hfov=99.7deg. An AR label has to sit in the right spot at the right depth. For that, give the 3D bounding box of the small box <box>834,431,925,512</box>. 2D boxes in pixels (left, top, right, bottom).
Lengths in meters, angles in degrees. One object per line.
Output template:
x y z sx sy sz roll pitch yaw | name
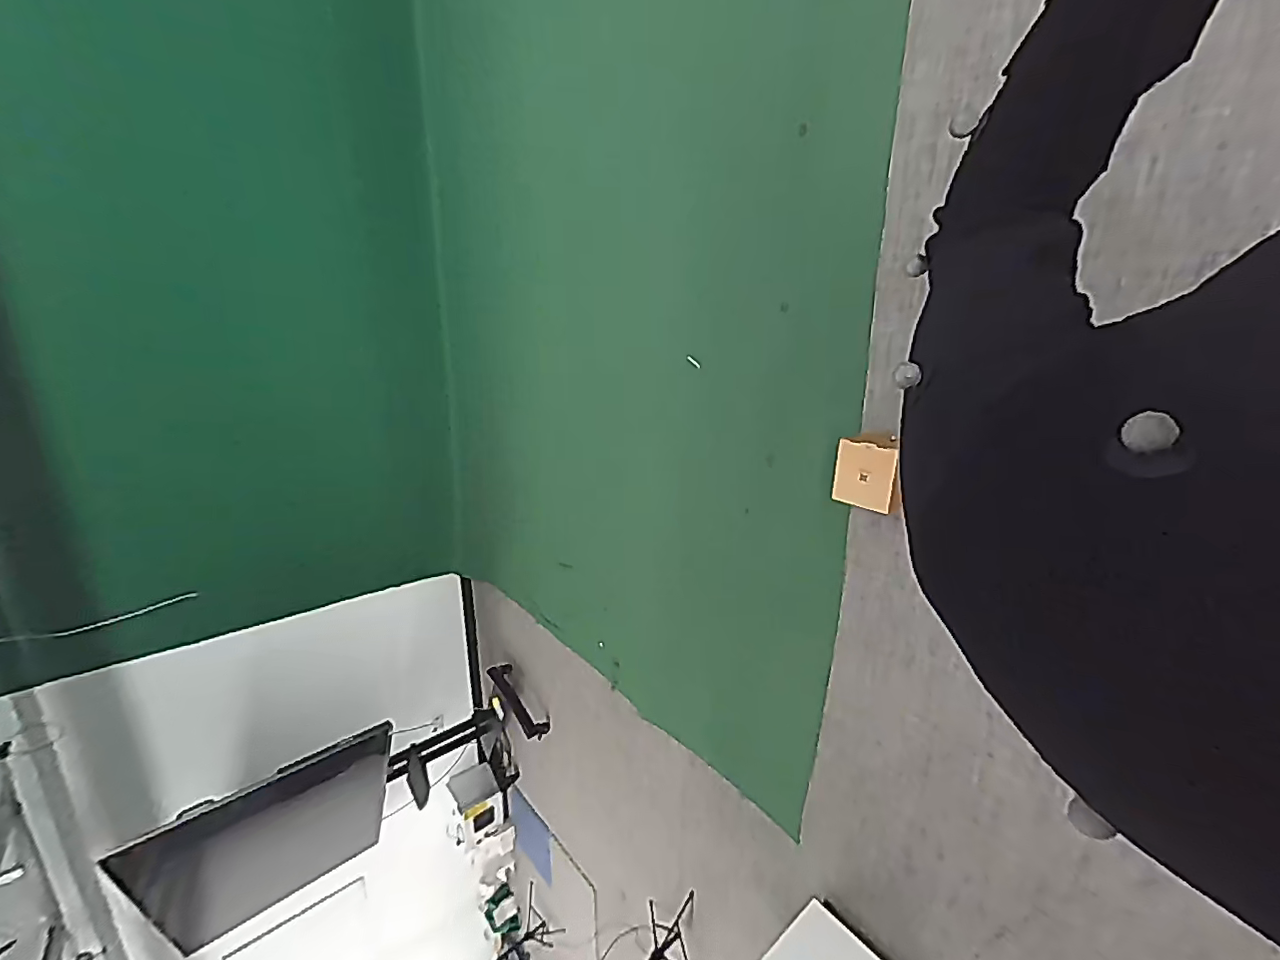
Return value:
0.661 -0.029 1.489 0.168 0.176 0.179 19 113 46 | small box
